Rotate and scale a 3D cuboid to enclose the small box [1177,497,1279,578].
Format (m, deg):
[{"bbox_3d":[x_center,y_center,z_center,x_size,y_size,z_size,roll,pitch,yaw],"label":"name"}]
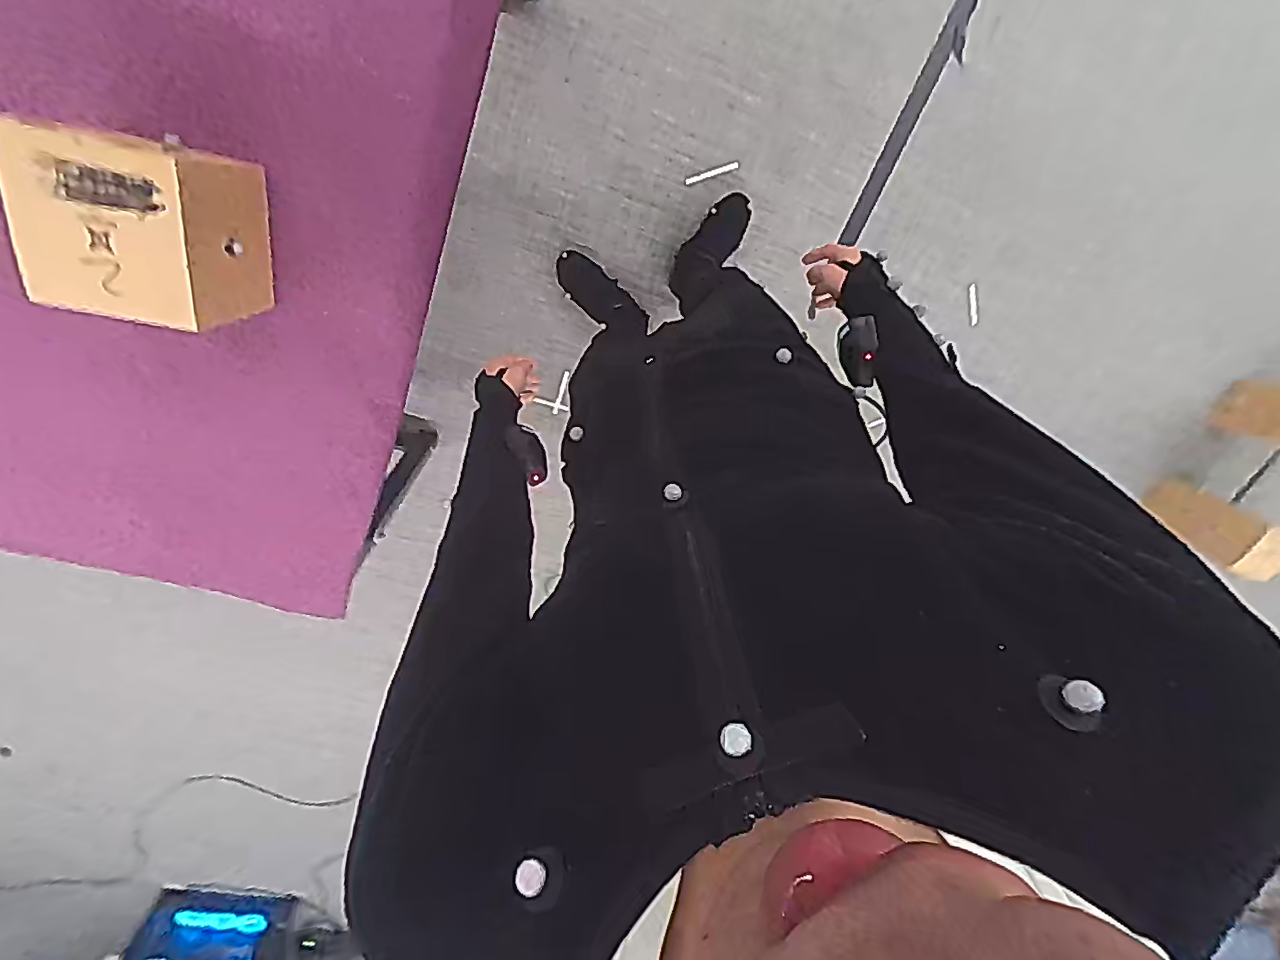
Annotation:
[{"bbox_3d":[1.920,0.185,1.755,0.168,0.176,0.179,17,114,-14],"label":"small box"}]

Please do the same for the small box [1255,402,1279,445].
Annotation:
[{"bbox_3d":[2.022,-0.157,1.597,0.179,0.176,0.168,12,114,-11],"label":"small box"}]

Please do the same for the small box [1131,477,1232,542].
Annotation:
[{"bbox_3d":[1.904,0.112,1.902,0.168,0.176,0.179,17,114,-13],"label":"small box"}]

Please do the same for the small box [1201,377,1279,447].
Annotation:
[{"bbox_3d":[2.009,-0.221,1.747,0.179,0.176,0.168,10,114,-11],"label":"small box"}]
